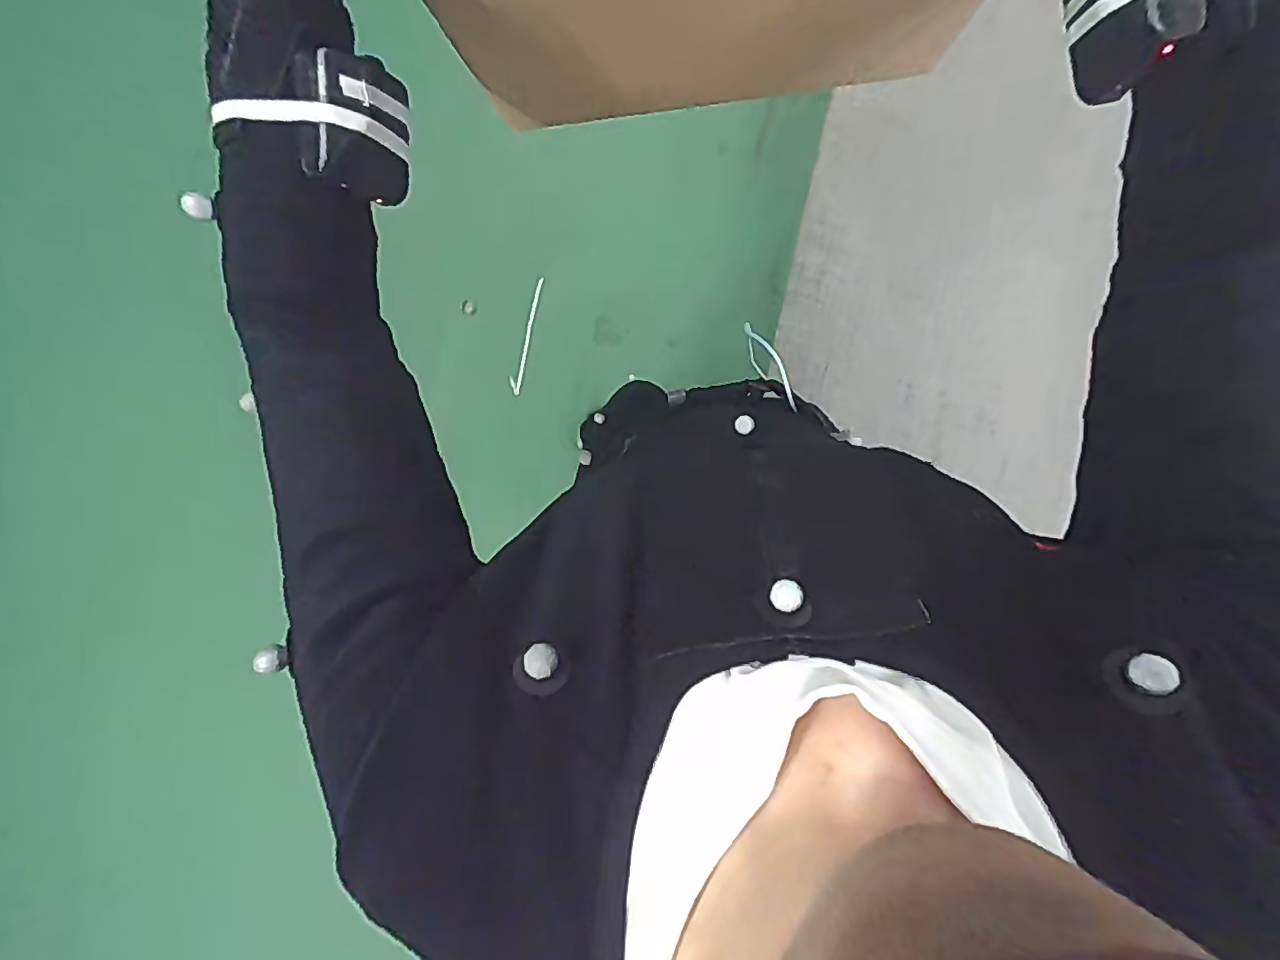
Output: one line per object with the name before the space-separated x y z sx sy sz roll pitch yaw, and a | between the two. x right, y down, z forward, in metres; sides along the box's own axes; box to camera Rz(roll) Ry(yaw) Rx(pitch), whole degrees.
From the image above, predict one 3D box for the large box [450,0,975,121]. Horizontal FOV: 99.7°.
large box | 0.050 -0.495 0.354 0.408 0.320 0.320 -4 99 4
